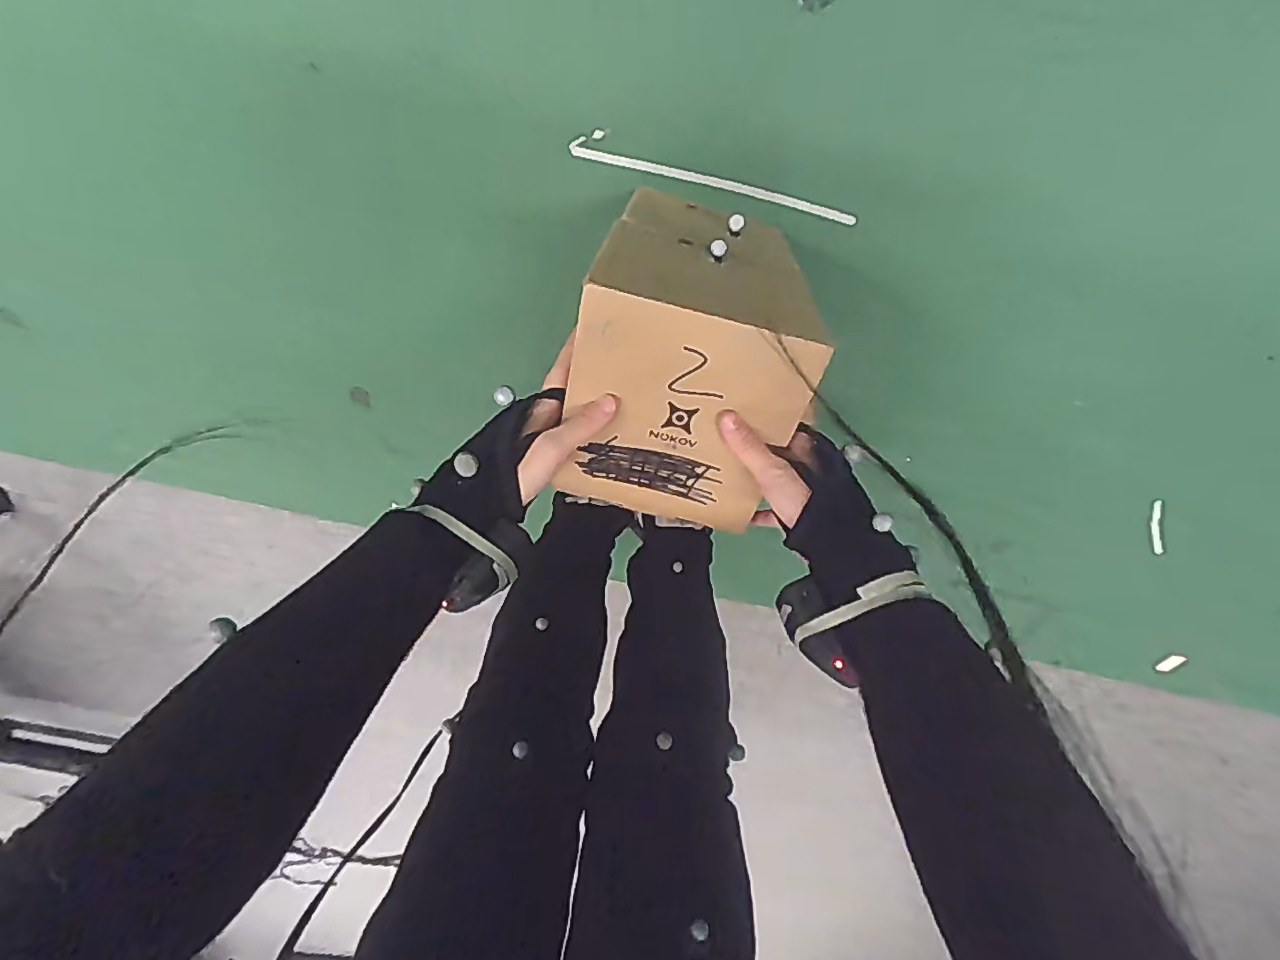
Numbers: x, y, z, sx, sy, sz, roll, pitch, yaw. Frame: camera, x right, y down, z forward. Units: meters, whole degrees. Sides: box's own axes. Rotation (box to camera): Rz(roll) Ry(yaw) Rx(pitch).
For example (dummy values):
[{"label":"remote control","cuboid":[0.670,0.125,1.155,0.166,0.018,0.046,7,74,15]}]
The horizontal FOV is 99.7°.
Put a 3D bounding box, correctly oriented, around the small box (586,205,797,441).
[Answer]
[{"label":"small box","cuboid":[0.048,-0.175,0.588,0.168,0.176,0.179,14,128,-5]}]
